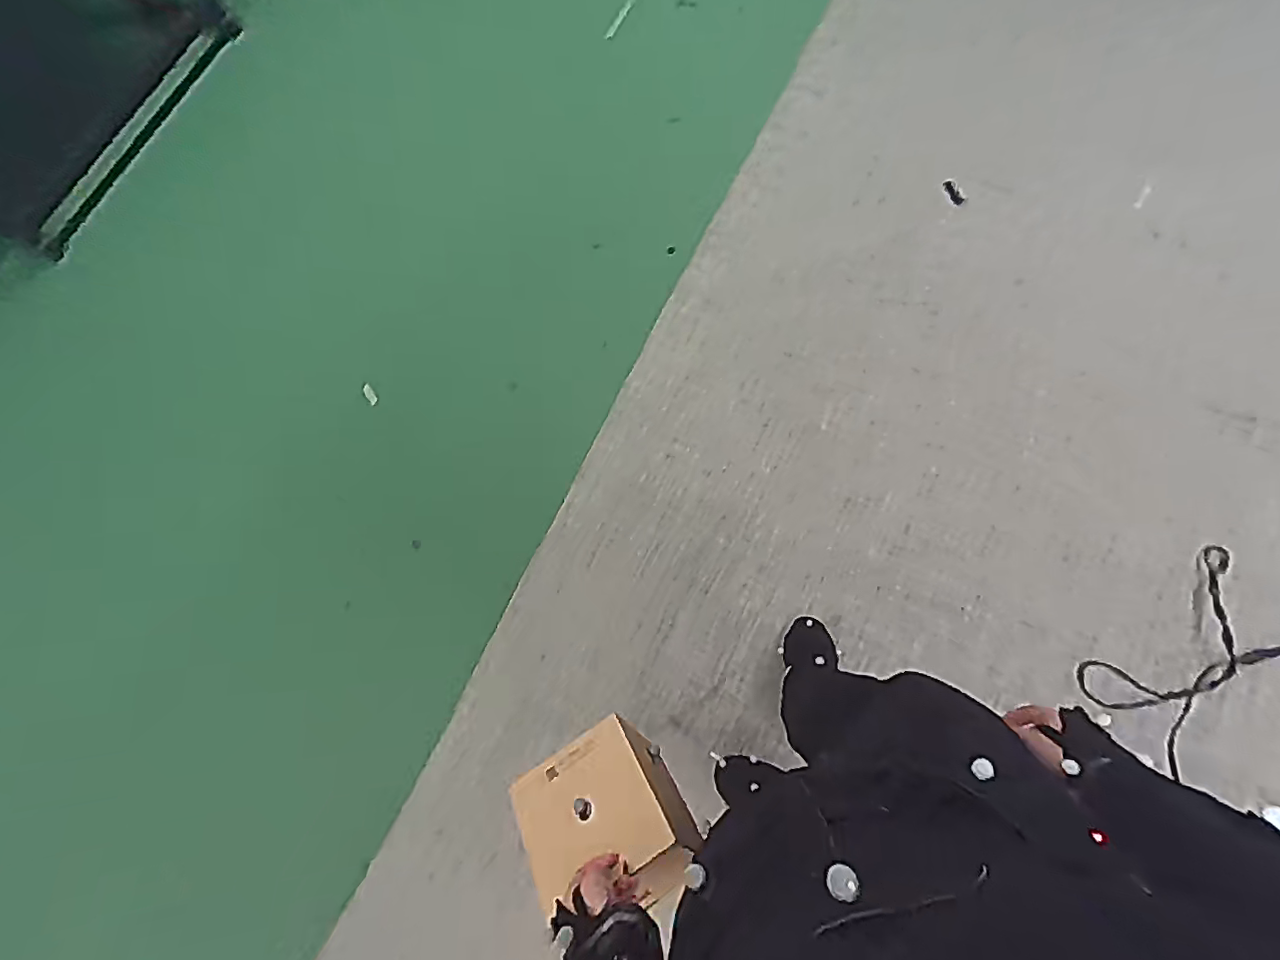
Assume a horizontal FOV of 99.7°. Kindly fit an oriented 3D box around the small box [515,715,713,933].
[{"bbox_3d":[-0.035,0.436,0.698,0.168,0.179,0.176,-35,47,-6],"label":"small box"}]
